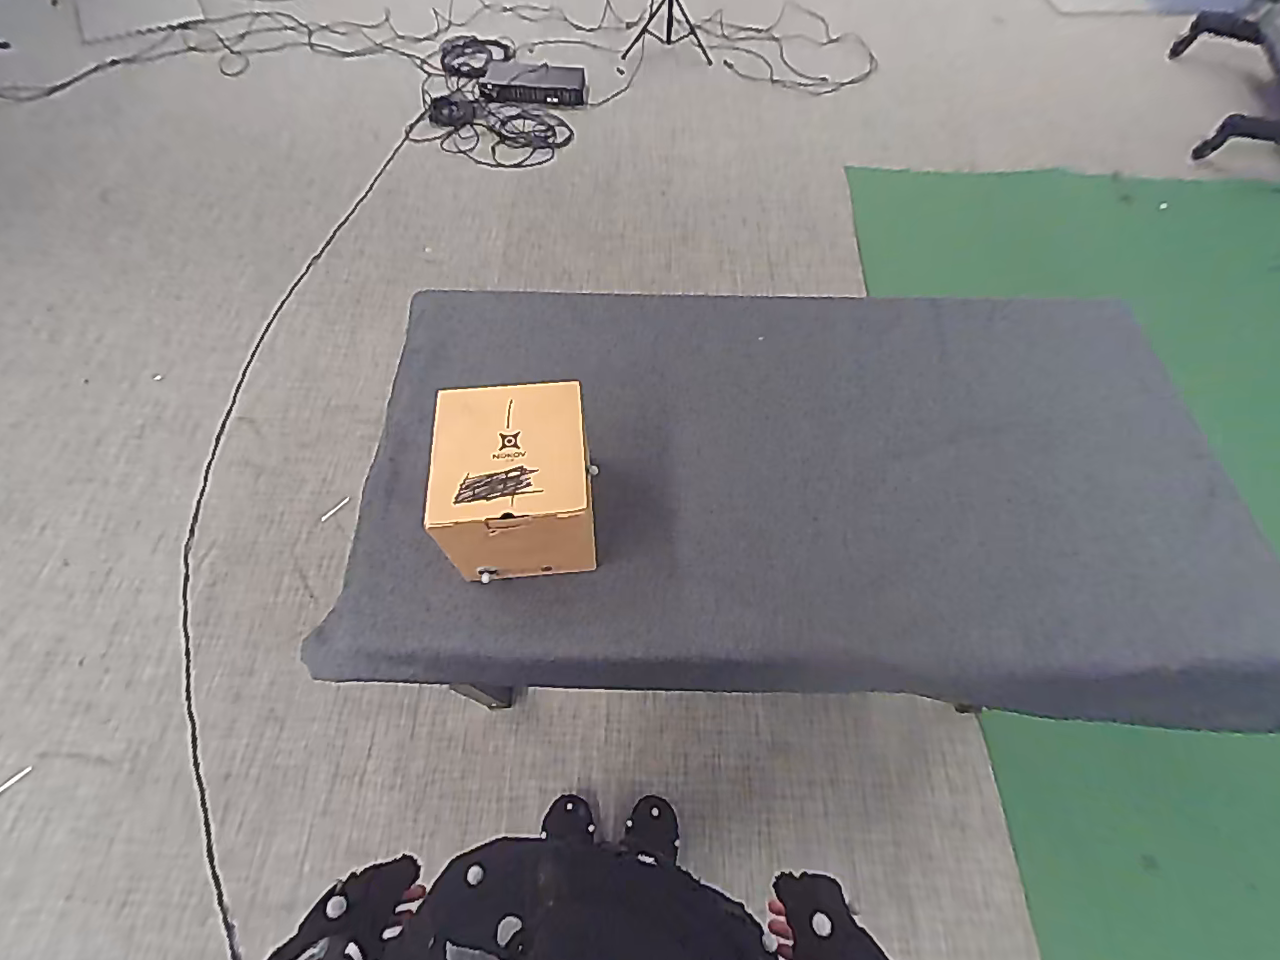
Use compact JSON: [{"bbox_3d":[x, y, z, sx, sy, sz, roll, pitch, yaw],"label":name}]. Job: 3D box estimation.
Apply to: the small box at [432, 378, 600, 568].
[{"bbox_3d":[-0.139,0.001,0.663,0.168,0.176,0.179,-5,60,-3],"label":"small box"}]
